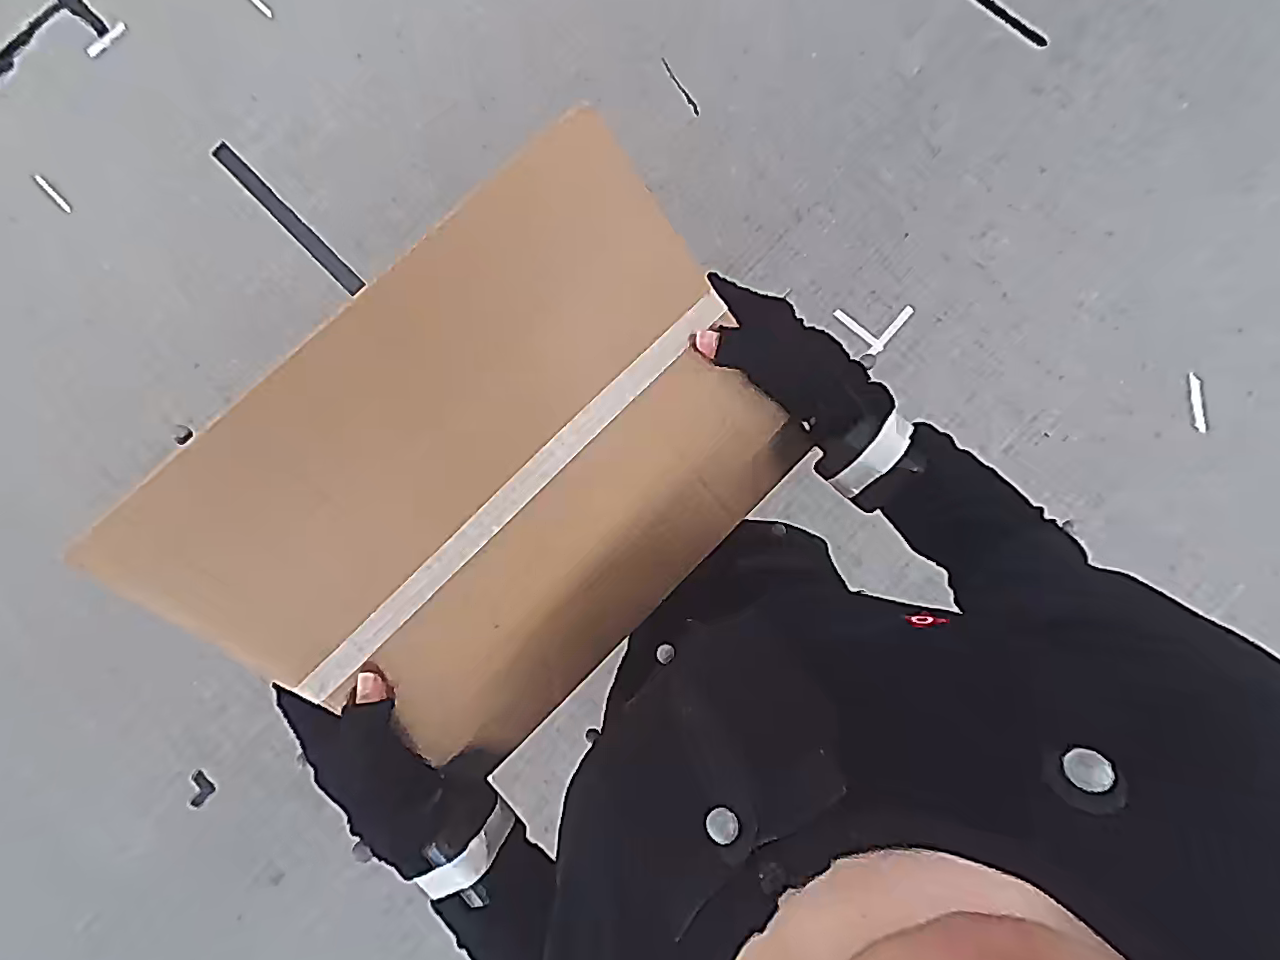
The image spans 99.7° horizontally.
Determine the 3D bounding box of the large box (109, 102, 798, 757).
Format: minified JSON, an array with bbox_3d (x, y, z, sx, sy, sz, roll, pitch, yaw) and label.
[{"bbox_3d":[-0.141,-0.044,0.532,0.408,0.320,0.320,-44,117,-5],"label":"large box"}]
